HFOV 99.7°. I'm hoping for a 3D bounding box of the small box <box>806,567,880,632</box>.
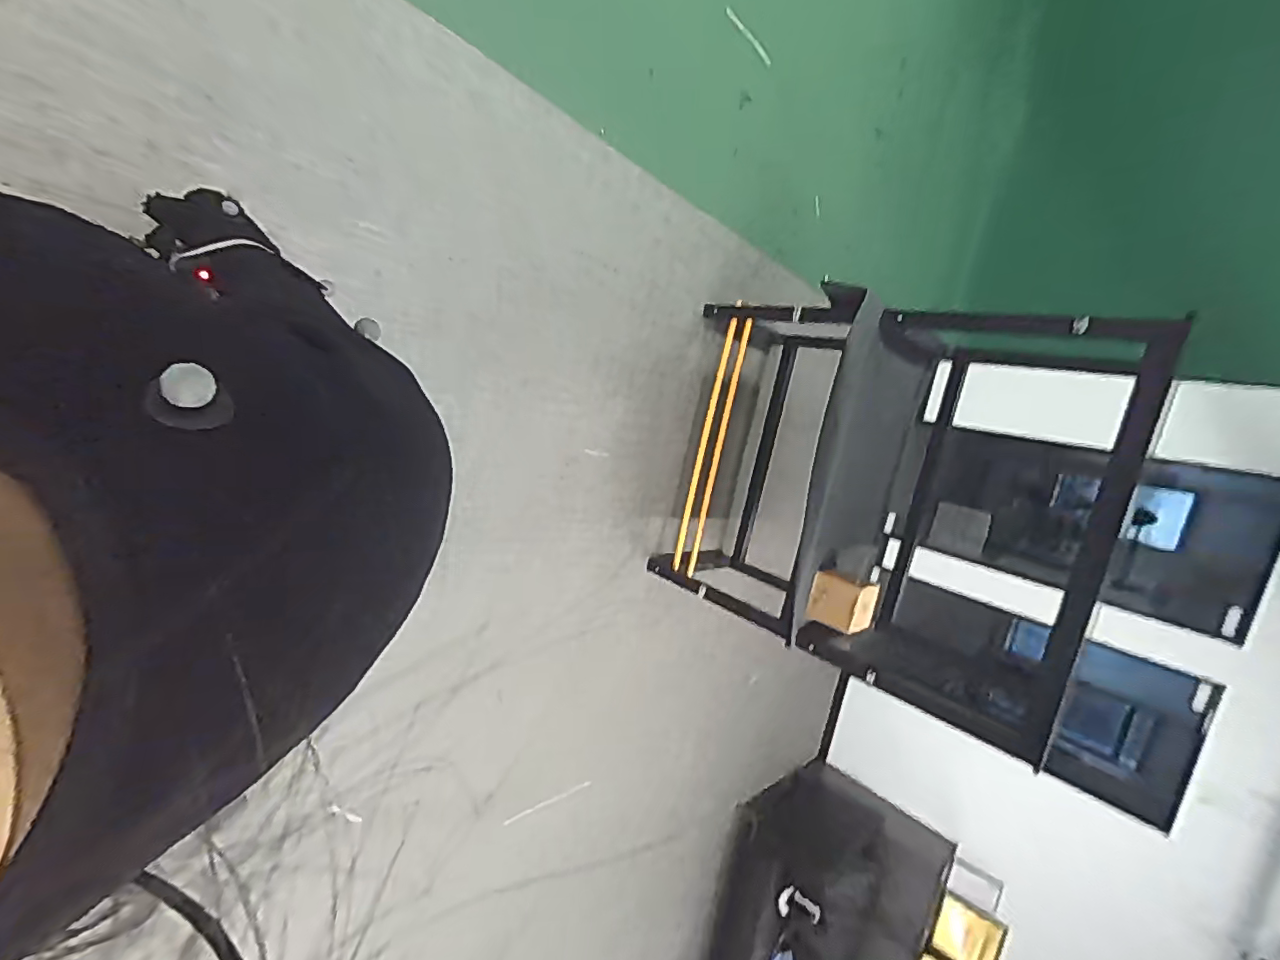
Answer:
[{"bbox_3d":[0.716,0.416,1.915,0.179,0.176,0.168,4,102,-46],"label":"small box"}]
